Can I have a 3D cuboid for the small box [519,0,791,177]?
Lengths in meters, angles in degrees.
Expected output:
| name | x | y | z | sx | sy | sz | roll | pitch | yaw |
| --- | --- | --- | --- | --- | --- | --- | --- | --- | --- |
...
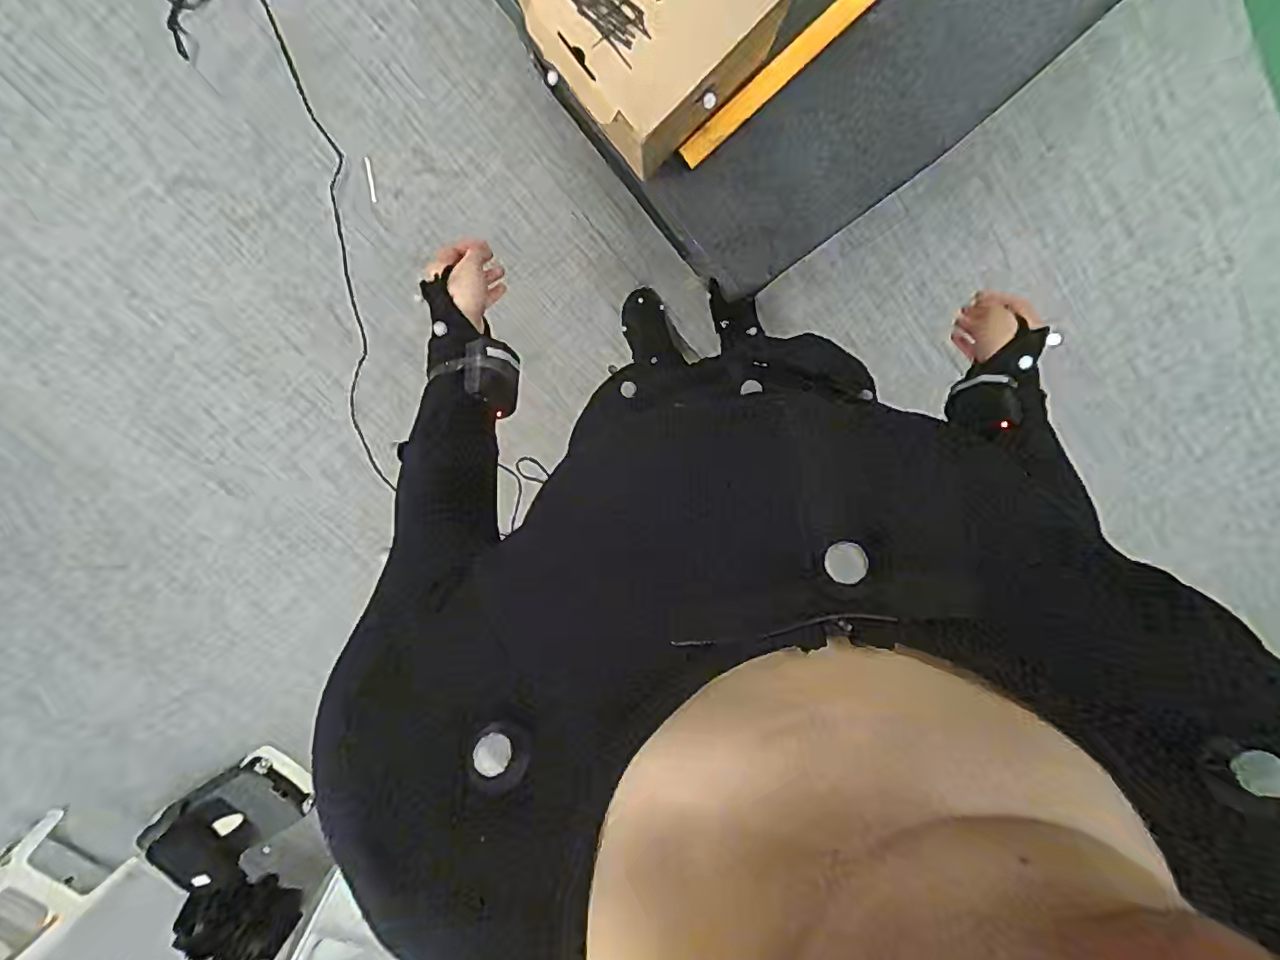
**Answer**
| name | x | y | z | sx | sy | sz | roll | pitch | yaw |
| --- | --- | --- | --- | --- | --- | --- | --- | --- | --- |
| small box | 0.015 | -0.420 | 0.501 | 0.179 | 0.176 | 0.168 | -41 | 104 | 13 |
